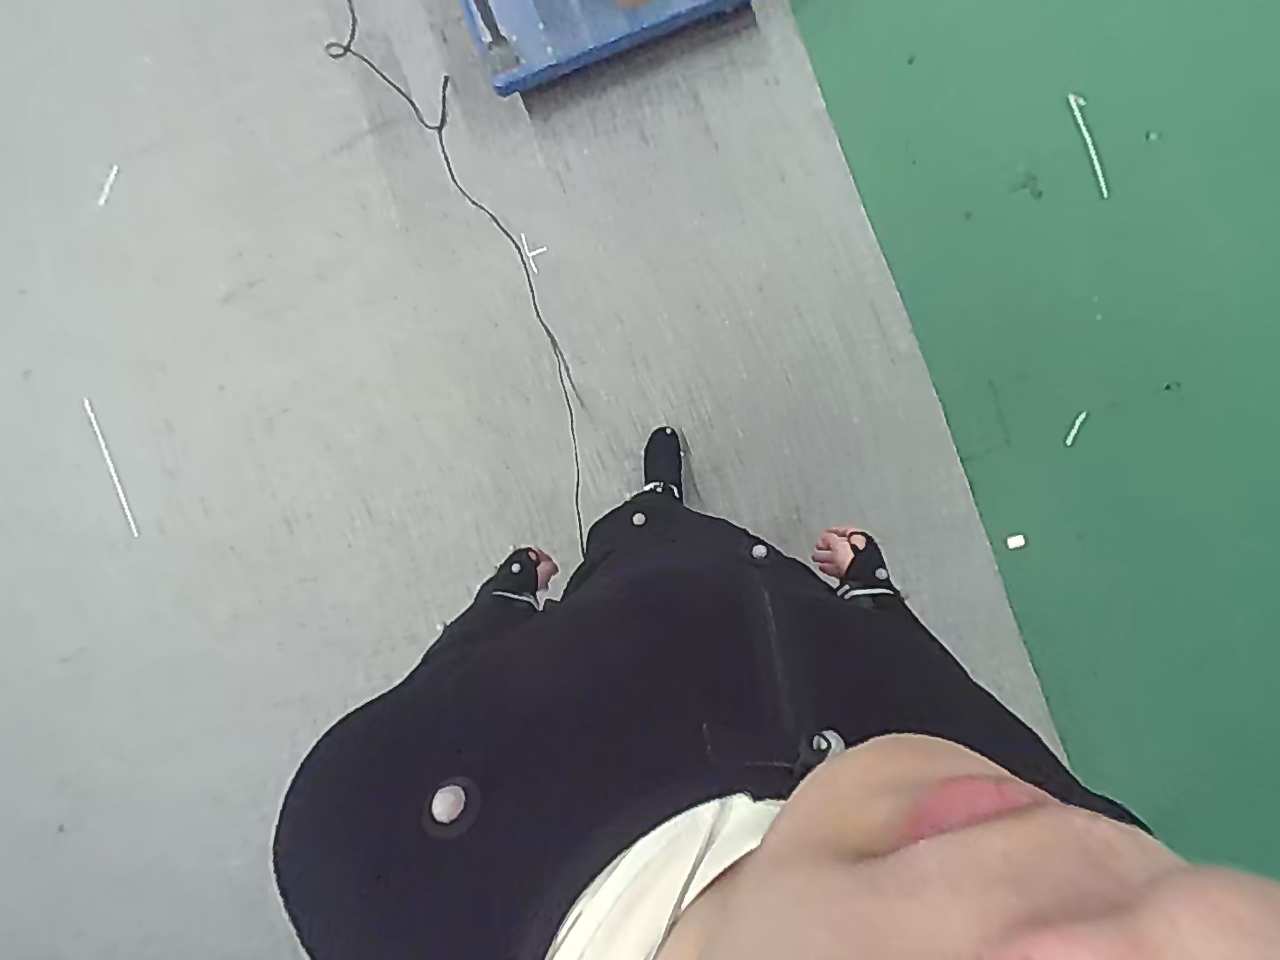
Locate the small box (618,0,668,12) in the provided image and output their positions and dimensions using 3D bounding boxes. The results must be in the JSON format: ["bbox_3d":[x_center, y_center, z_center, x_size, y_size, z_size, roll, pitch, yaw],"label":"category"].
[{"bbox_3d":[0.002,-1.367,1.395,0.168,0.176,0.179,-18,89,3],"label":"small box"}]
